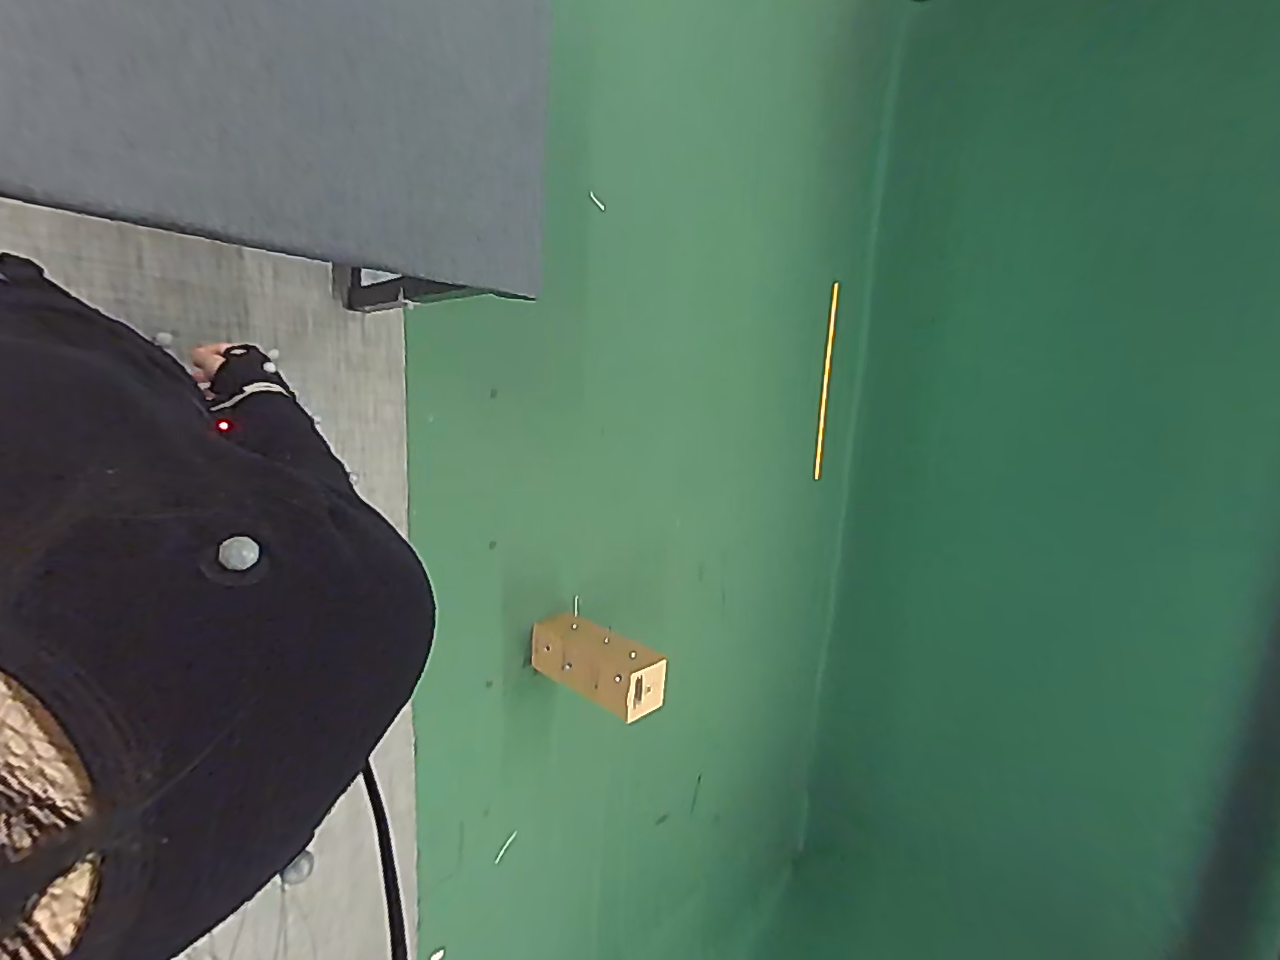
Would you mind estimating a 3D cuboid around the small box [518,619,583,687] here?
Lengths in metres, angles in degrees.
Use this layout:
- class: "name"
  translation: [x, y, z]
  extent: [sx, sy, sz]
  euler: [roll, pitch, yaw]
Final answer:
- class: "small box"
  translation: [-0.333, 0.628, 1.985]
  extent: [0.179, 0.176, 0.168]
  euler: [-6, 102, -49]

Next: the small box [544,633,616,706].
- class: "small box"
  translation: [-0.209, 0.649, 1.877]
  extent: [0.179, 0.176, 0.168]
  euler: [-1, 99, -49]
